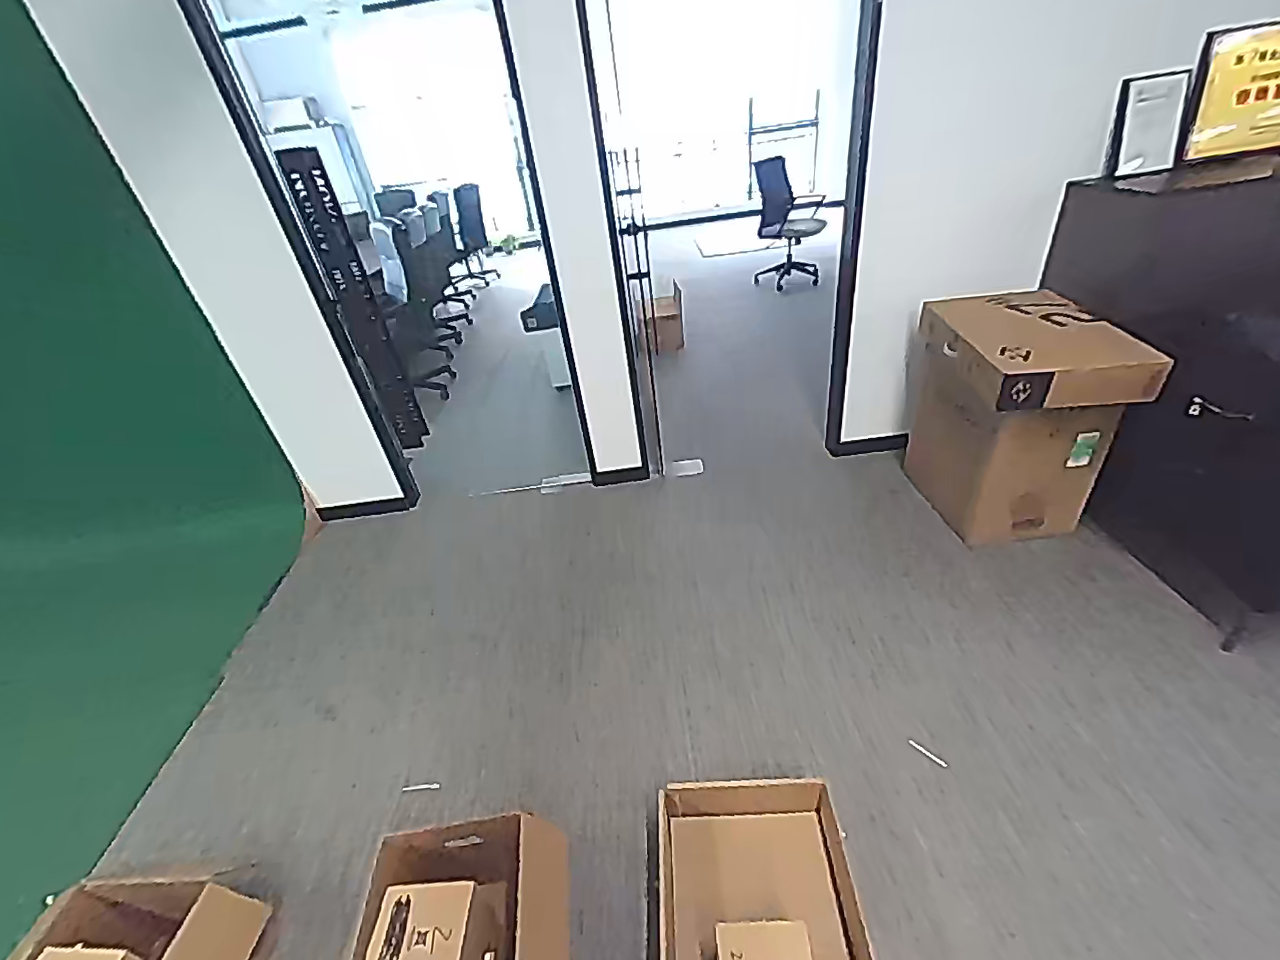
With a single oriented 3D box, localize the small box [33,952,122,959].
[{"bbox_3d":[-1.041,0.996,0.986,0.179,0.176,0.168,-3,33,5],"label":"small box"}]
